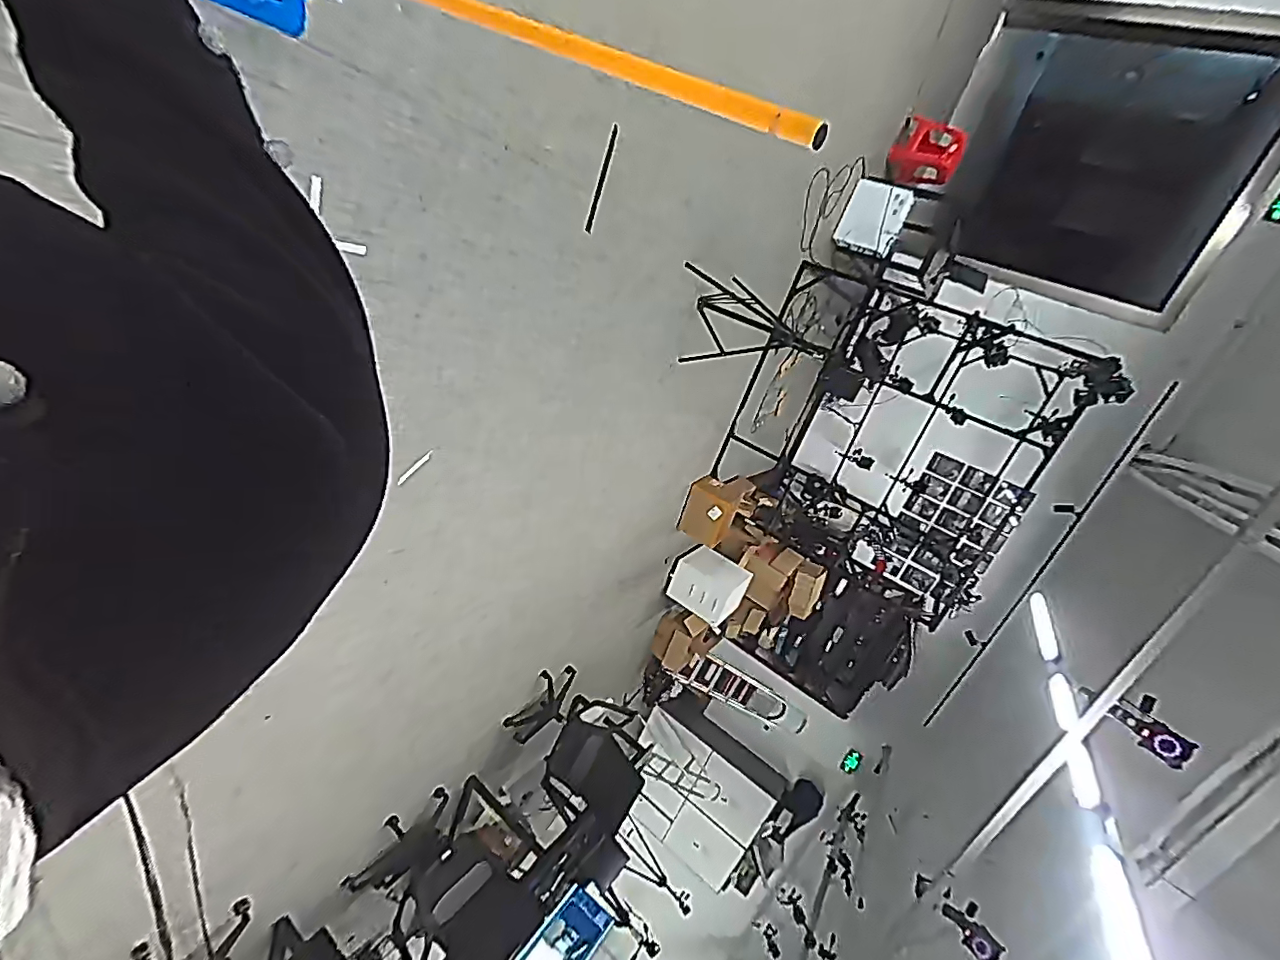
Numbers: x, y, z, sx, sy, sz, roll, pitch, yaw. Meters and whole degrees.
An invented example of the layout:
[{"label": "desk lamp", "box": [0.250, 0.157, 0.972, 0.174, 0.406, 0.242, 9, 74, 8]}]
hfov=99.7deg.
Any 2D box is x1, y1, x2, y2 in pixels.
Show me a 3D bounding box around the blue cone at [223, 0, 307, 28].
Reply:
[{"label": "blue cone", "box": [-0.589, -0.908, 0.939, 0.193, 0.380, 0.192, -20, 134, -55]}]
